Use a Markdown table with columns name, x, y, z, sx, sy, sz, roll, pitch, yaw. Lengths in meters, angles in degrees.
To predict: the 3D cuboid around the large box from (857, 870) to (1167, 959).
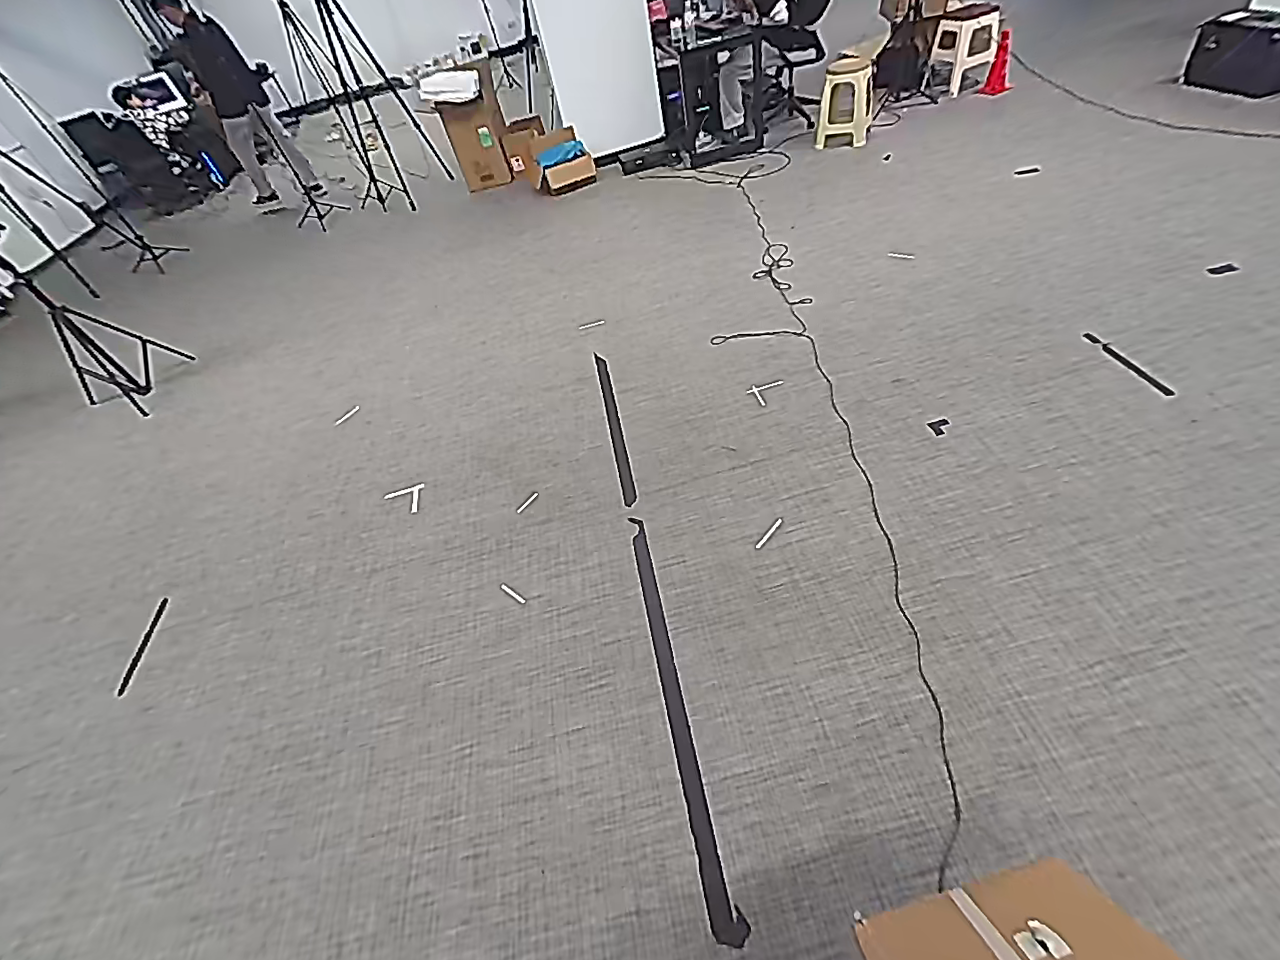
| name | x | y | z | sx | sy | sz | roll | pitch | yaw |
| --- | --- | --- | --- | --- | --- | --- | --- | --- | --- |
| large box | 0.492 | 0.720 | 0.564 | 0.320 | 0.408 | 0.320 | -19 | 79 | 2 |
